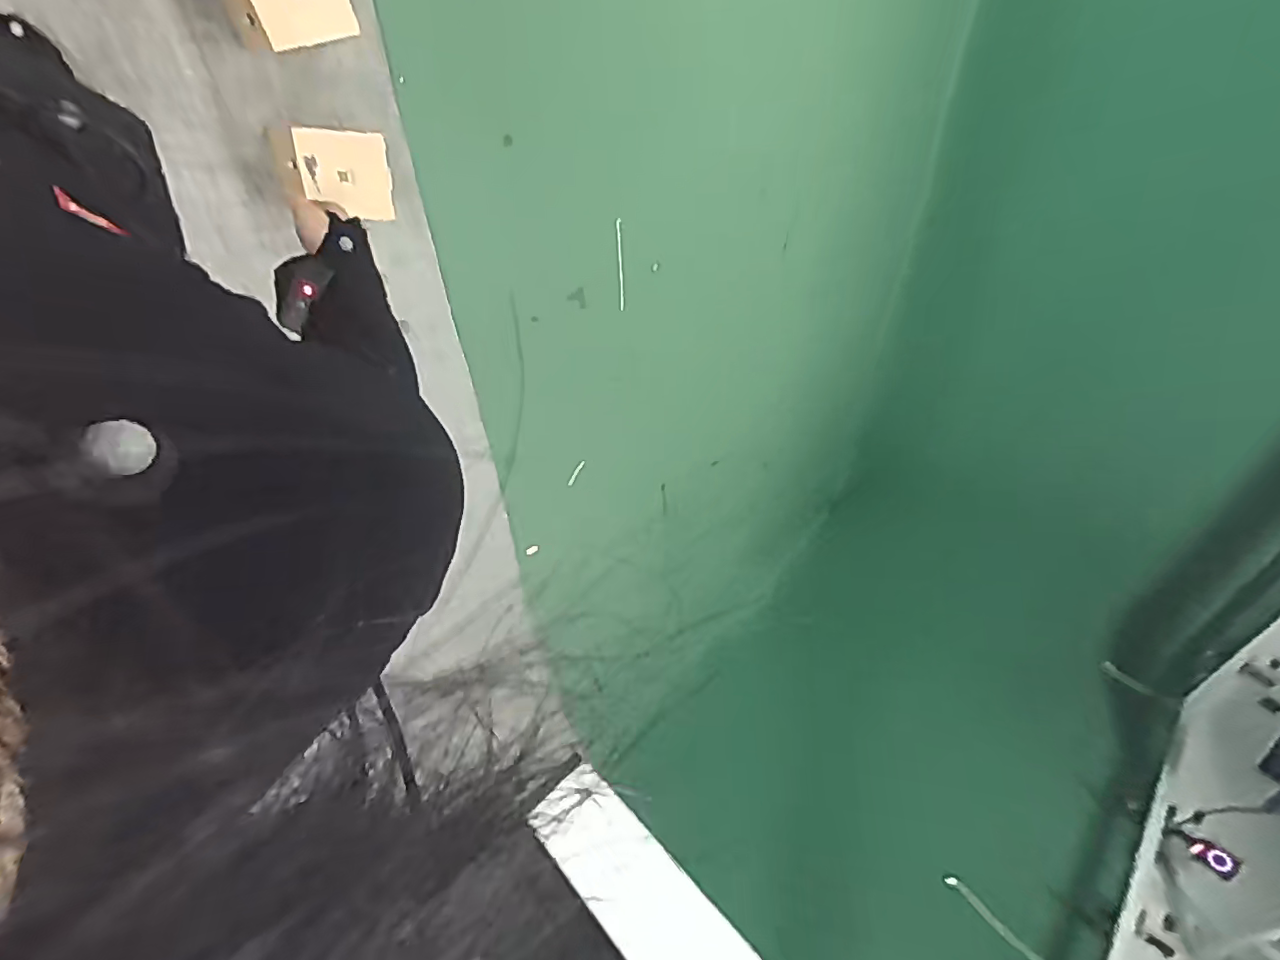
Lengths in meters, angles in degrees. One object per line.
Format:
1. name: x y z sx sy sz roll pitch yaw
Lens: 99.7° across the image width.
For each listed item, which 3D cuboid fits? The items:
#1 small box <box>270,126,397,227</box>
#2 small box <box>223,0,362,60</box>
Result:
1. small box: -0.649 -0.645 1.152 0.179 0.176 0.168 -24 134 -38
2. small box: -0.645 -0.882 0.974 0.168 0.176 0.179 -38 141 -26
